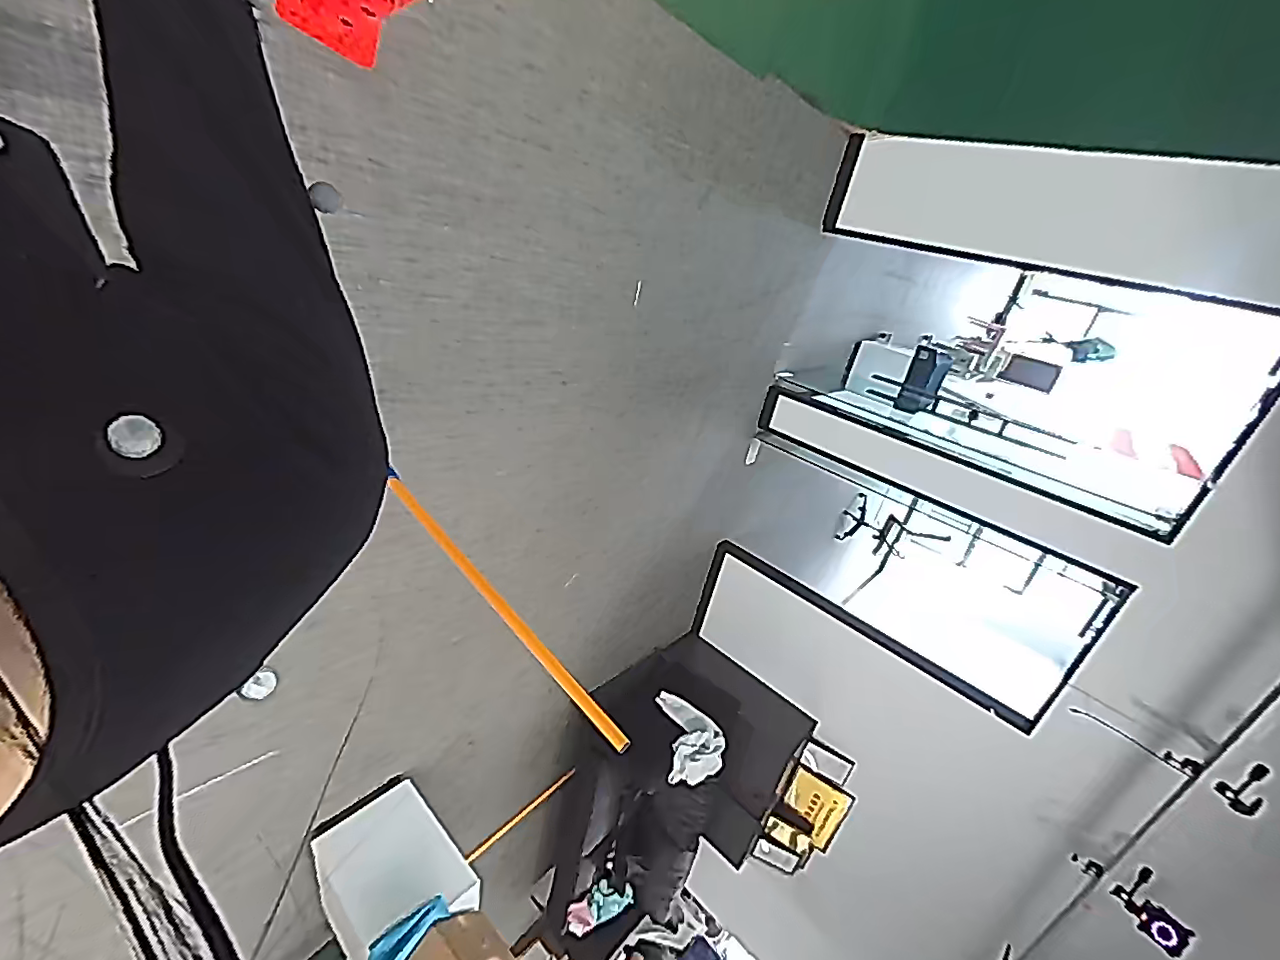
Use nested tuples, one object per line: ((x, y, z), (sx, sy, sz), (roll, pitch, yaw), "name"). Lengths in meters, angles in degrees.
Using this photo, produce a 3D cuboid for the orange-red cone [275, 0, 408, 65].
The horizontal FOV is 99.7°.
((-0.516, -0.948, 1.035), (0.198, 0.360, 0.199), (1, 115, -53), "orange-red cone")
